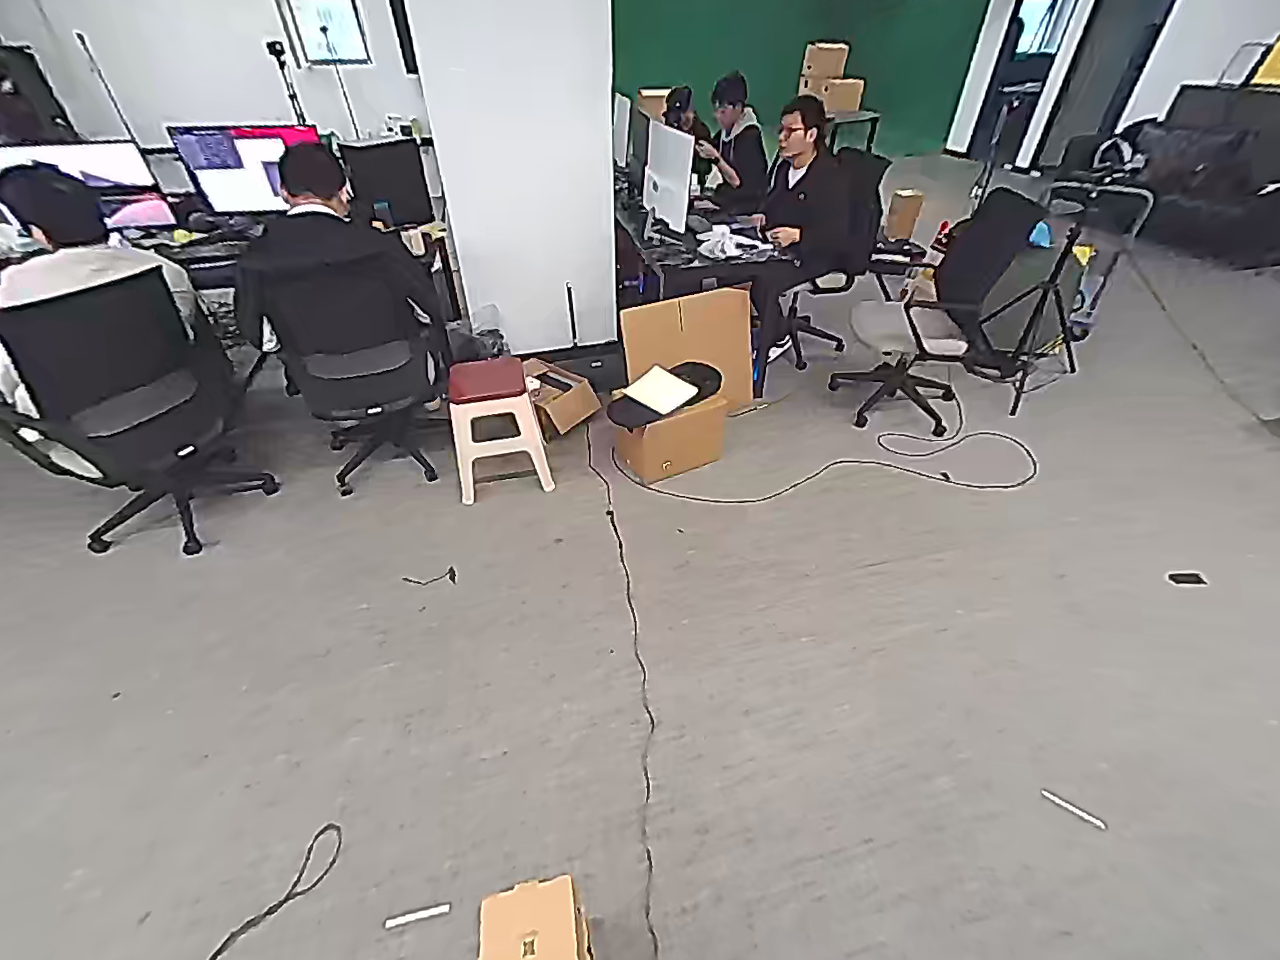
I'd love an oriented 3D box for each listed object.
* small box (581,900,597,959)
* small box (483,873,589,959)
[{"bbox_3d":[-0.174,0.979,1.077,0.179,0.176,0.168,-11,41,-10],"label":"small box"},{"bbox_3d":[-0.184,0.853,0.975,0.168,0.176,0.179,-10,42,-8],"label":"small box"}]
